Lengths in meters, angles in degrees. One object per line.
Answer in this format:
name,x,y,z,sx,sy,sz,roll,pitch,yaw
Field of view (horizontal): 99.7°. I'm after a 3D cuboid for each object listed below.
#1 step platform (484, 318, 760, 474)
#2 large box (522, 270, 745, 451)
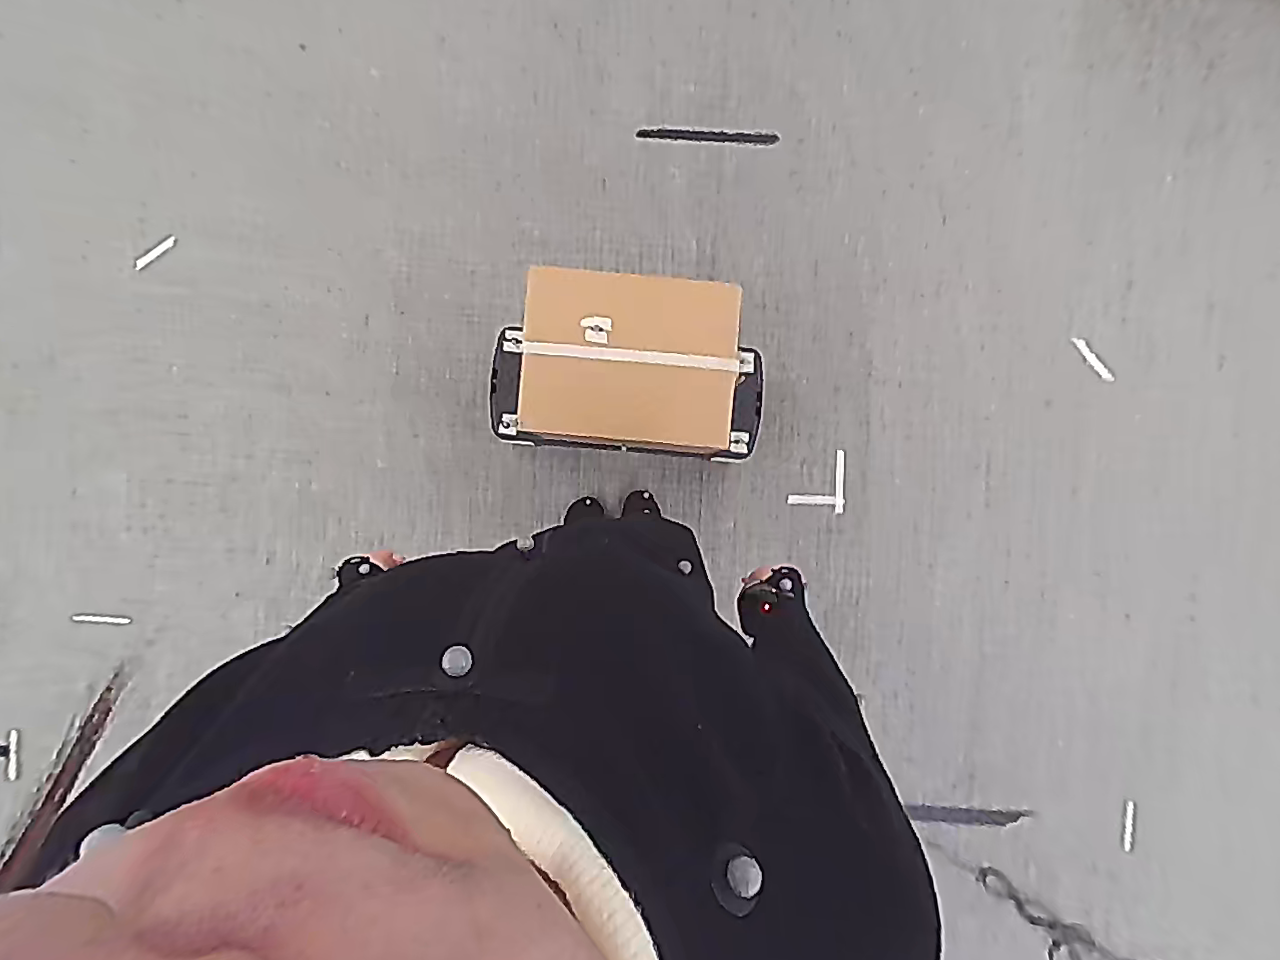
step platform,-0.043,-0.208,1.390,0.684,0.204,0.286,10,91,0
large box,-0.010,-0.228,1.151,0.408,0.320,0.320,5,90,0
